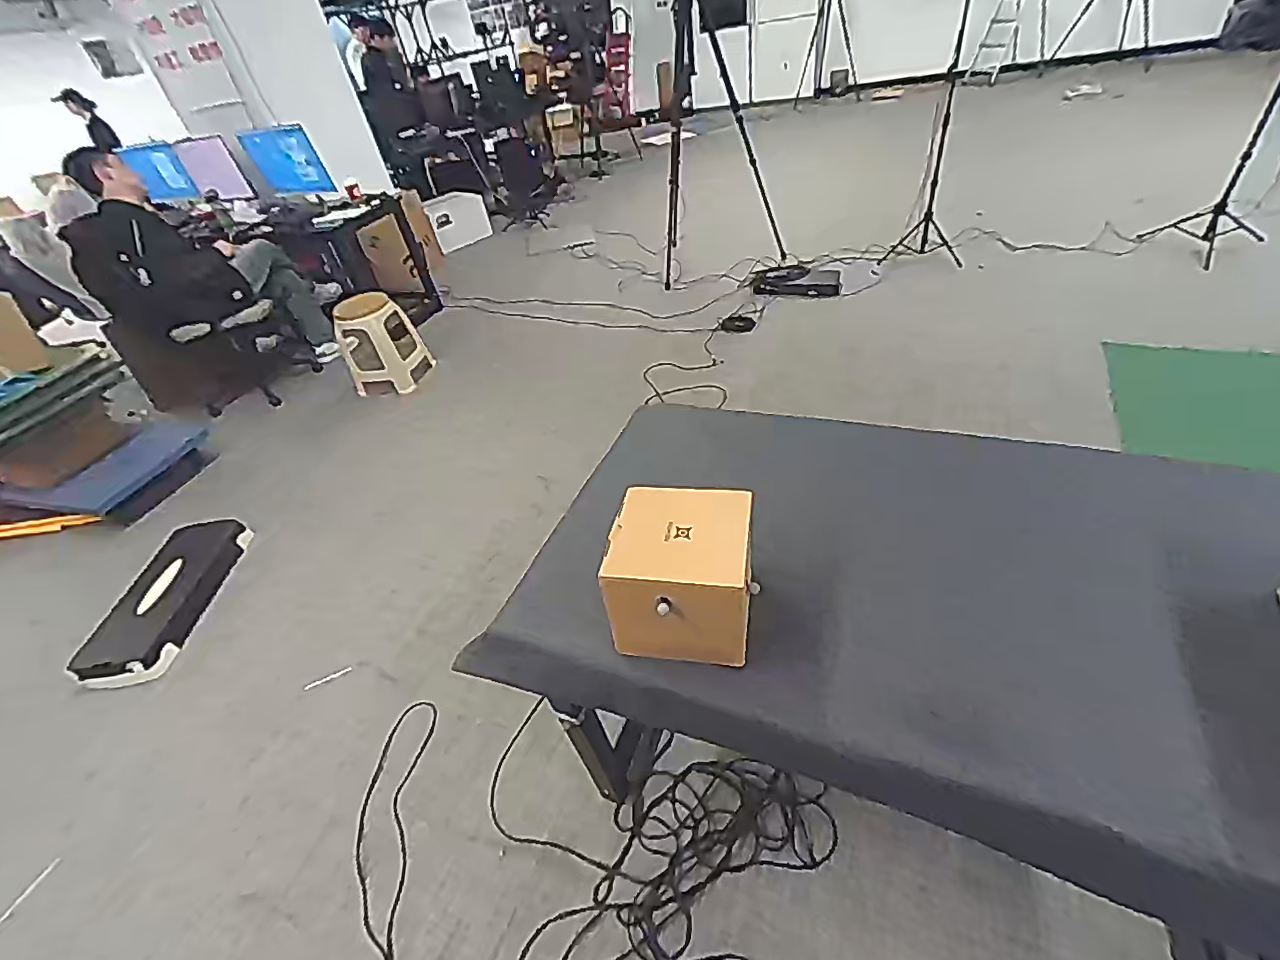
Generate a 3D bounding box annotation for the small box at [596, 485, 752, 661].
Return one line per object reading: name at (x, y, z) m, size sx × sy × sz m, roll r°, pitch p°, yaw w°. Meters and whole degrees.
small box at (0.058, 0.126, 0.734) m, size 0.179 × 0.176 × 0.168 m, roll 2°, pitch 41°, yaw 15°
